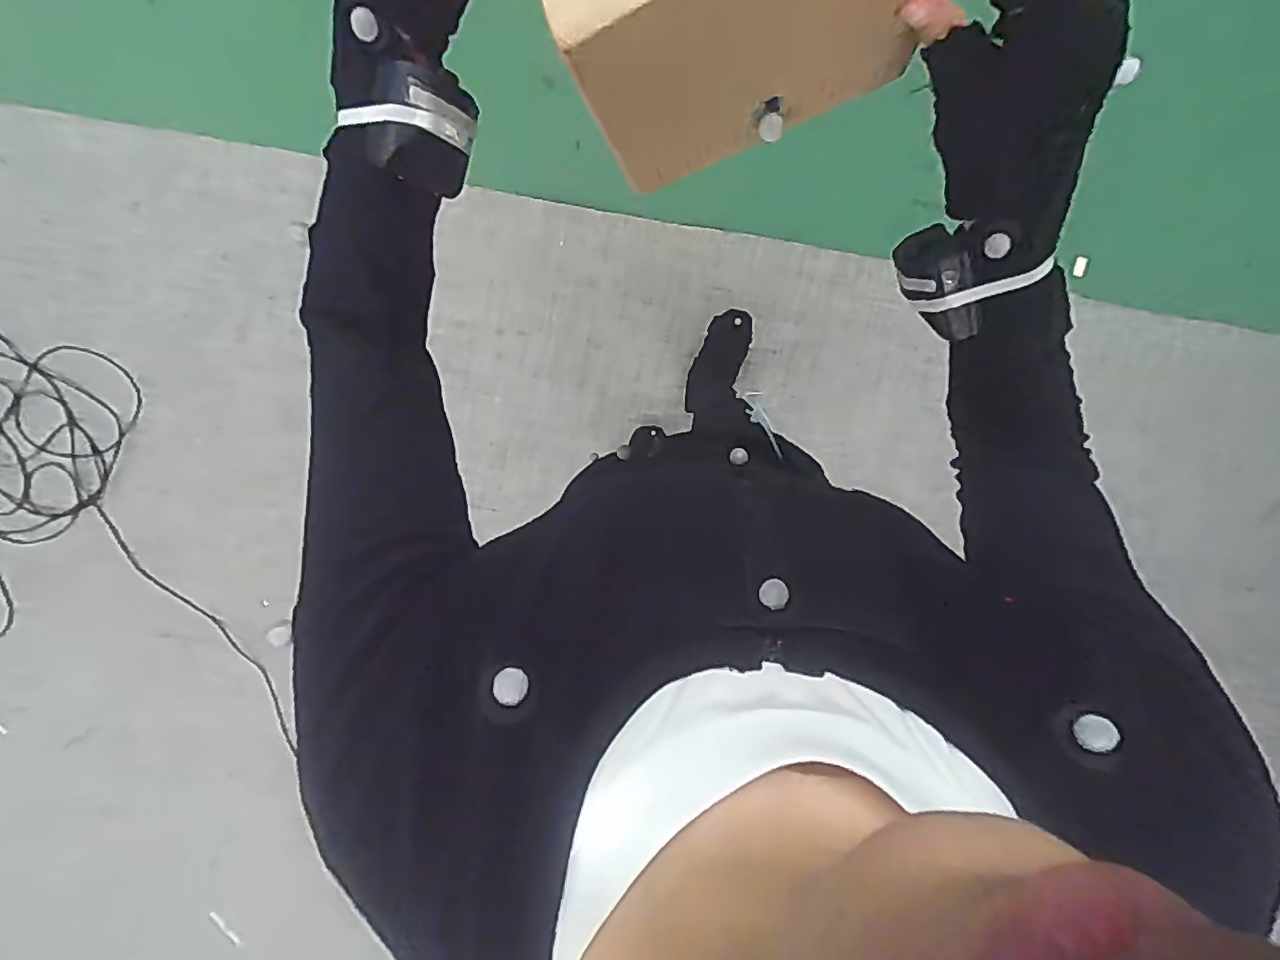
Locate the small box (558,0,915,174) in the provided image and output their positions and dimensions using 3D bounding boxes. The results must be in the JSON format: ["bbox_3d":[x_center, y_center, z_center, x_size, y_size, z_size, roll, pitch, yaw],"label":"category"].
[{"bbox_3d":[0.038,-0.291,0.265,0.179,0.176,0.168,-19,96,13],"label":"small box"}]
